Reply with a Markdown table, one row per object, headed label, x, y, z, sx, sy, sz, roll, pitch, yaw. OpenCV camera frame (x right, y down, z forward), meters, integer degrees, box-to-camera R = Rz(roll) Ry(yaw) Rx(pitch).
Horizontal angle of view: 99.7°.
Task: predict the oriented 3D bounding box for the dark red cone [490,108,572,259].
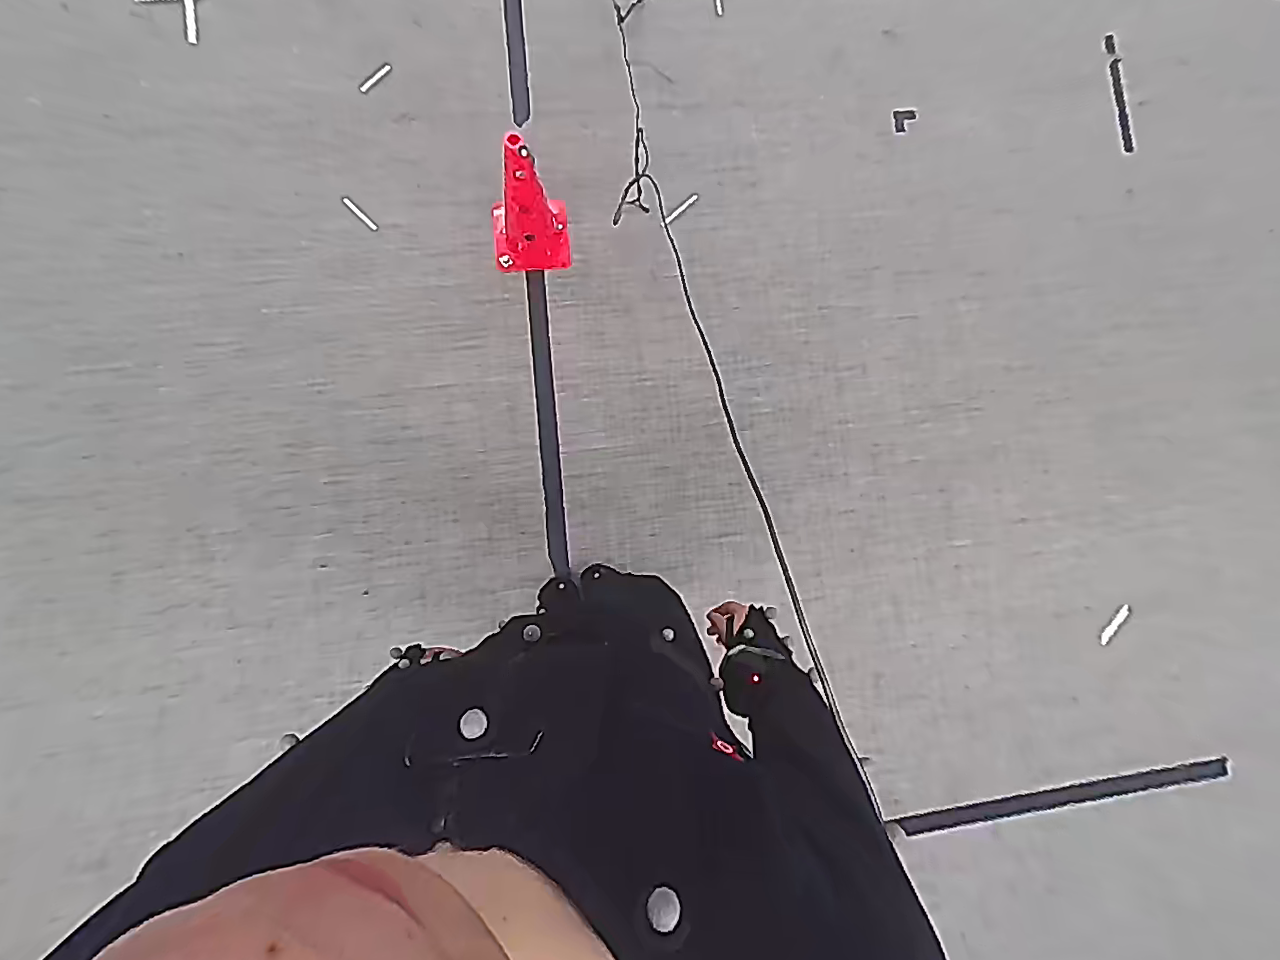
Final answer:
| label | x | y | z | sx | sy | sz | roll | pitch | yaw |
| --- | --- | --- | --- | --- | --- | --- | --- | --- | --- |
| dark red cone | -0.270 | -0.698 | 1.267 | 0.201 | 0.394 | 0.202 | -6 | 84 | -7 |
